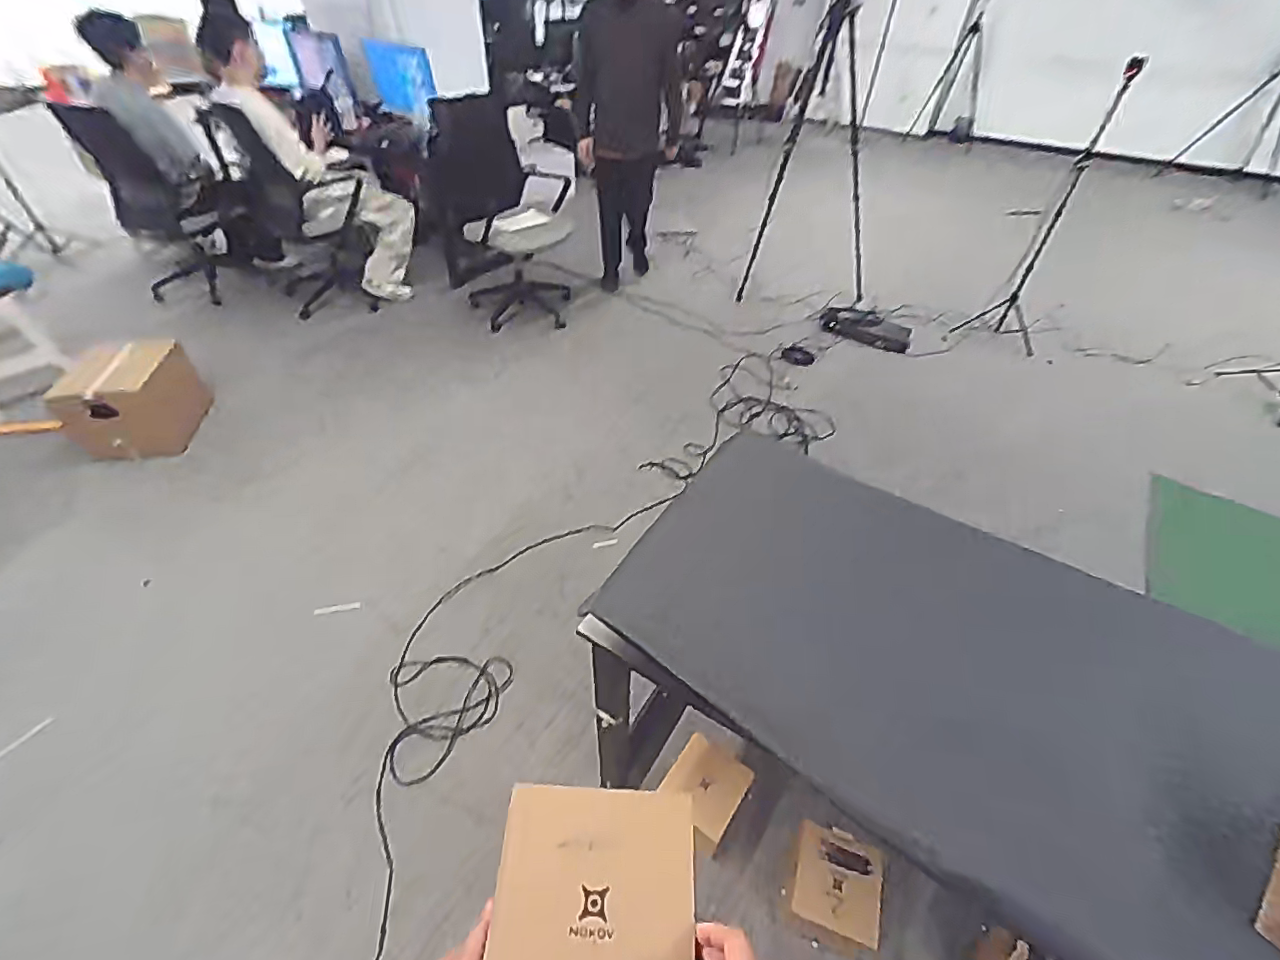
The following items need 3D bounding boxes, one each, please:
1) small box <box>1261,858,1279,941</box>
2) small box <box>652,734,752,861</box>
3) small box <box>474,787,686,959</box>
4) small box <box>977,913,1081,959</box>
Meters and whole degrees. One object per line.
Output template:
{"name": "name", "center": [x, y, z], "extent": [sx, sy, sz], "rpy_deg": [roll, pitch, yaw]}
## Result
{"name": "small box", "center": [0.802, 0.457, 0.542], "extent": [0.179, 0.176, 0.168], "rpy_deg": [-24, 48, -29]}
{"name": "small box", "center": [0.143, 0.752, 1.277], "extent": [0.168, 0.176, 0.179], "rpy_deg": [28, 48, 25]}
{"name": "small box", "center": [-0.048, 0.399, 0.492], "extent": [0.168, 0.176, 0.179], "rpy_deg": [5, 49, -2]}
{"name": "small box", "center": [0.762, 0.994, 1.038], "extent": [0.168, 0.176, 0.179], "rpy_deg": [-33, 55, -32]}
